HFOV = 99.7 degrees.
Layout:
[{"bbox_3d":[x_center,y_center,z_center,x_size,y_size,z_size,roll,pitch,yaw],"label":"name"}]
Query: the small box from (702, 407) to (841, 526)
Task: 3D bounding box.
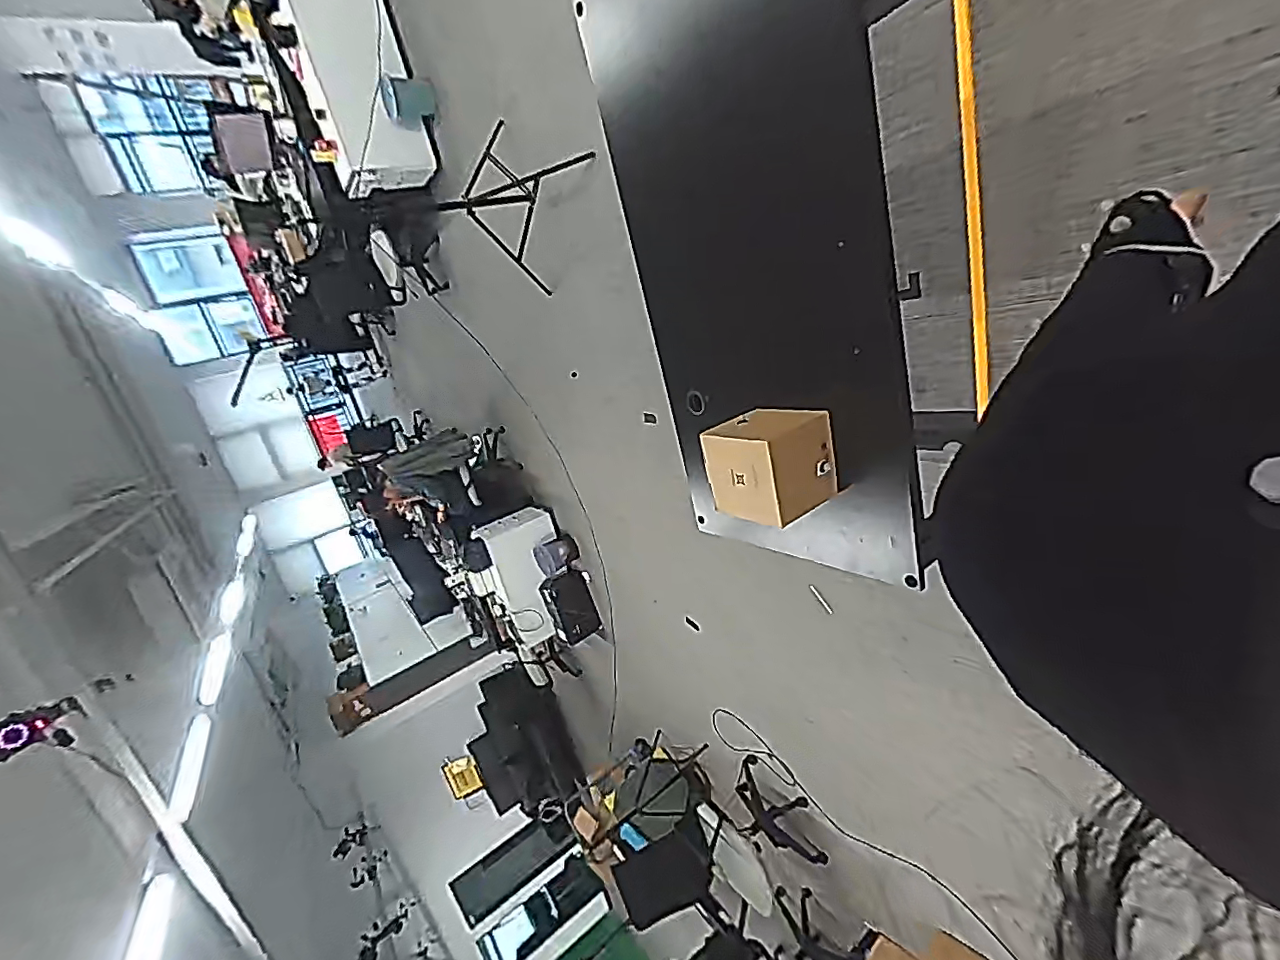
[{"bbox_3d":[0.249,-0.035,1.022,0.179,0.176,0.168,12,123,55],"label":"small box"}]
